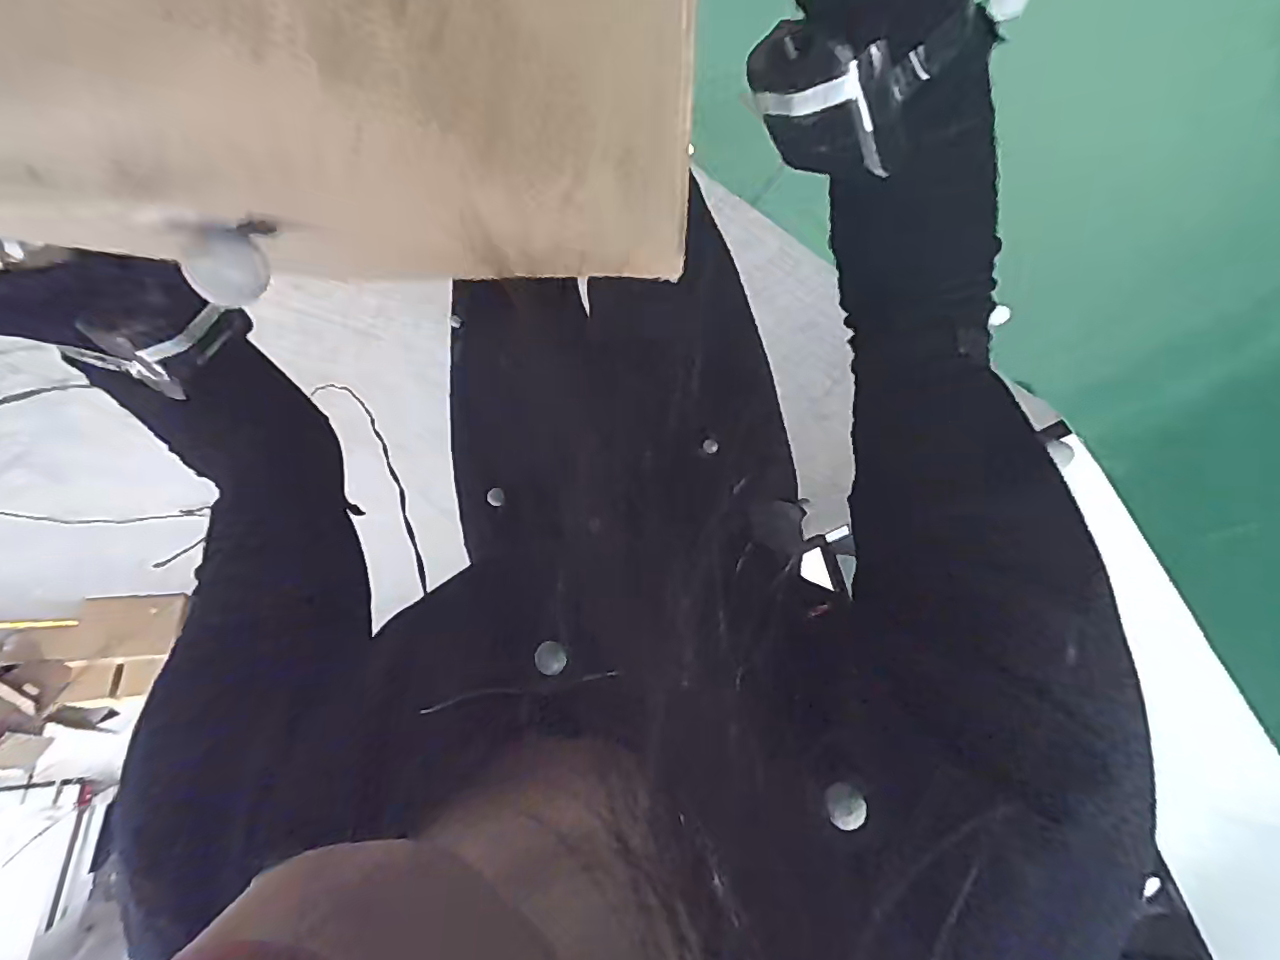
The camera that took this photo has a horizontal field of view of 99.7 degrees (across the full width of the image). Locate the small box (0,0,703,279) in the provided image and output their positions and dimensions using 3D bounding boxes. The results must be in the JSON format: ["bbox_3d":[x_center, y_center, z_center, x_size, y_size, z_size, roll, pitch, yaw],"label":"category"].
[{"bbox_3d":[-0.081,-0.147,0.131,0.168,0.179,0.176,9,-162,17],"label":"small box"}]
